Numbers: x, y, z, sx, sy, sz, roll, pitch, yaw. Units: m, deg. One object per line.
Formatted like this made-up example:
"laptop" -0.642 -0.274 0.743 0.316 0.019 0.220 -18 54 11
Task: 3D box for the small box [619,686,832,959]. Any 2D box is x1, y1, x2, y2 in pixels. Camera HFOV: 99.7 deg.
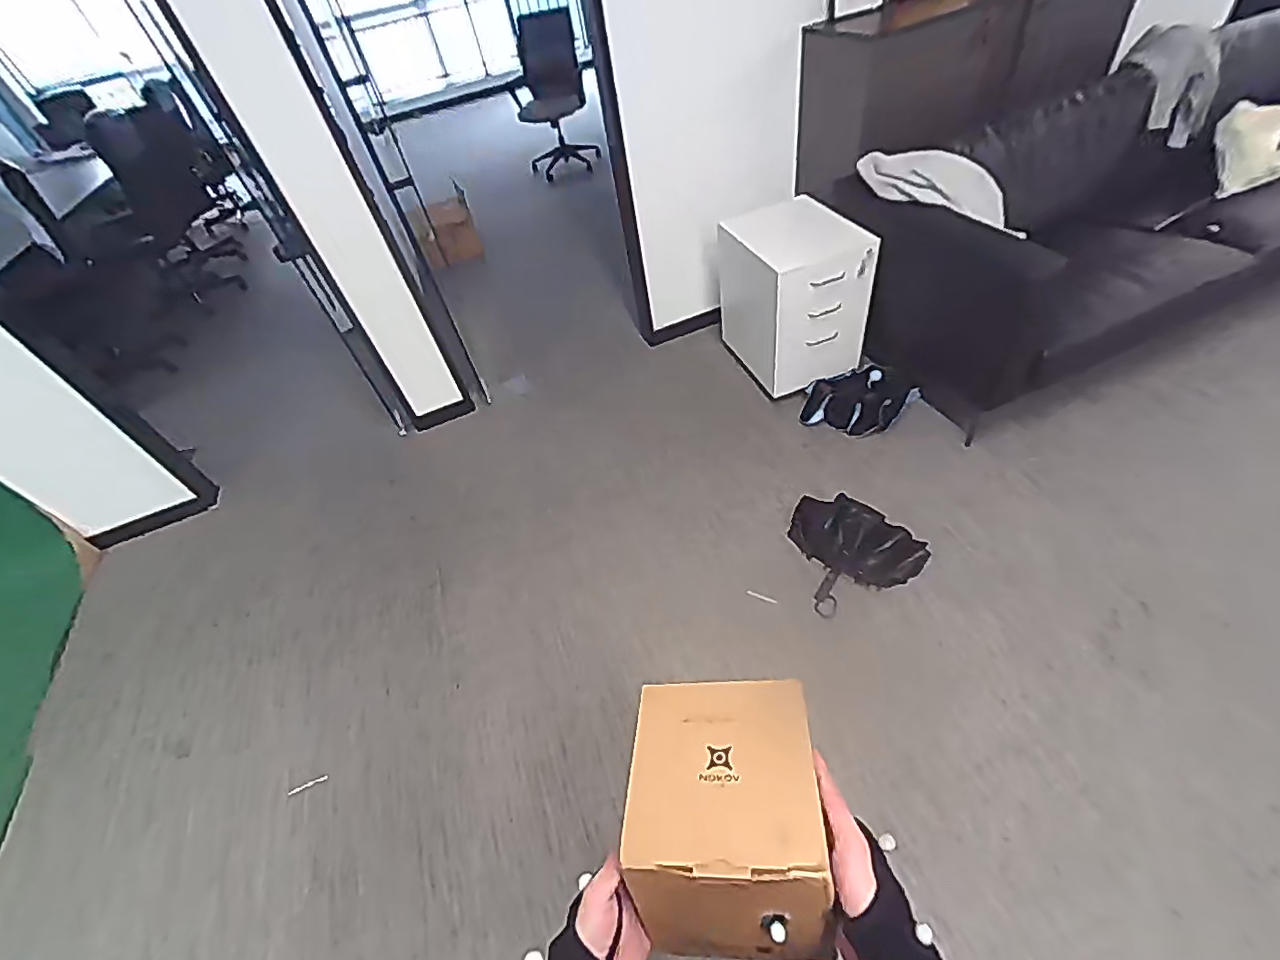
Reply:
"small box" 0.087 0.328 0.524 0.168 0.176 0.179 -5 28 11
